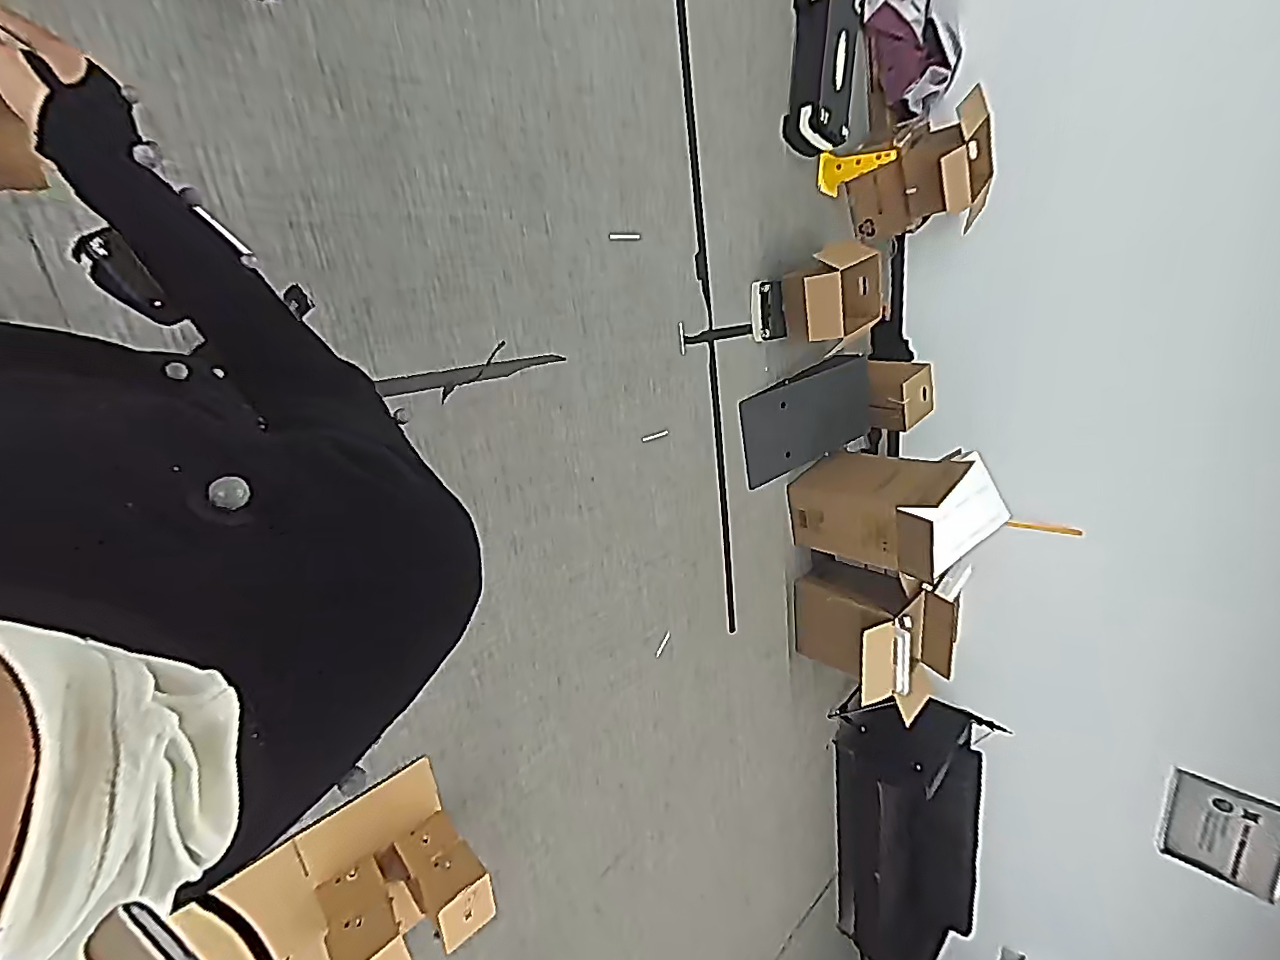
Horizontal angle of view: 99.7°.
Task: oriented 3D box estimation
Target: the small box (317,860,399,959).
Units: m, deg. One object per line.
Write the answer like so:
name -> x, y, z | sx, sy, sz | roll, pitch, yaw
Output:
small box -> -0.856, 1.316, 1.639 | 0.168, 0.176, 0.179 | -17, 110, -40

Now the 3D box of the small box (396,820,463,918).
small box -> -0.687, 1.270, 1.788 | 0.168, 0.176, 0.179 | -19, 110, -40

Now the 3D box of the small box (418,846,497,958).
small box -> -0.567, 1.298, 1.678 | 0.168, 0.176, 0.179 | -18, 110, -41
